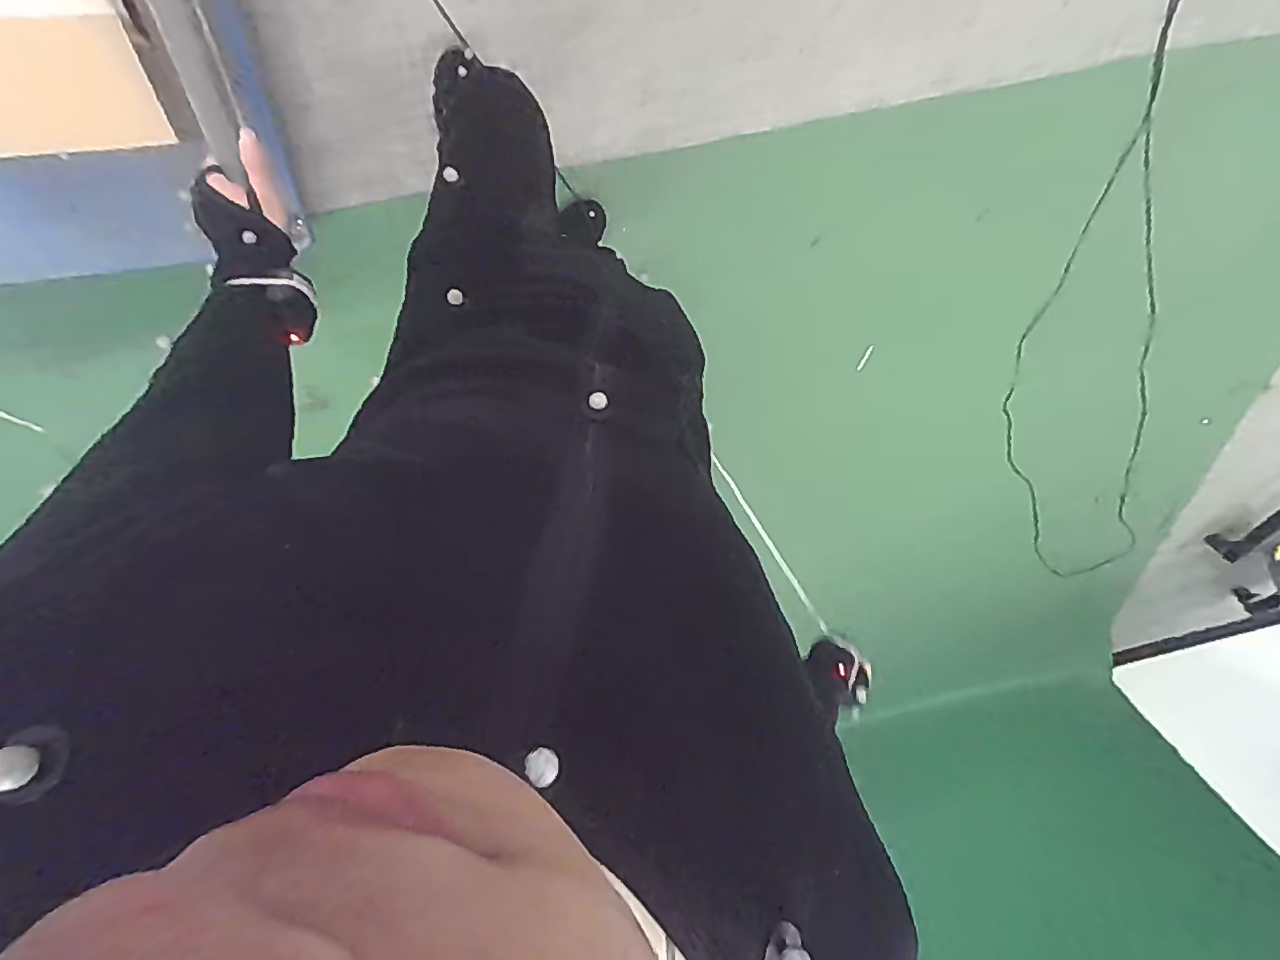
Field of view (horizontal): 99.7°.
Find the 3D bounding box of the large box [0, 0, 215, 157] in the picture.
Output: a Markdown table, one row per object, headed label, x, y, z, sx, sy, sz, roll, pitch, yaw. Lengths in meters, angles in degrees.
| label | x | y | z | sx | sy | sz | roll | pitch | yaw |
| --- | --- | --- | --- | --- | --- | --- | --- | --- | --- |
| large box | -0.925 | -0.651 | 0.759 | 0.408 | 0.320 | 0.320 | -17 | 129 | -17 |
